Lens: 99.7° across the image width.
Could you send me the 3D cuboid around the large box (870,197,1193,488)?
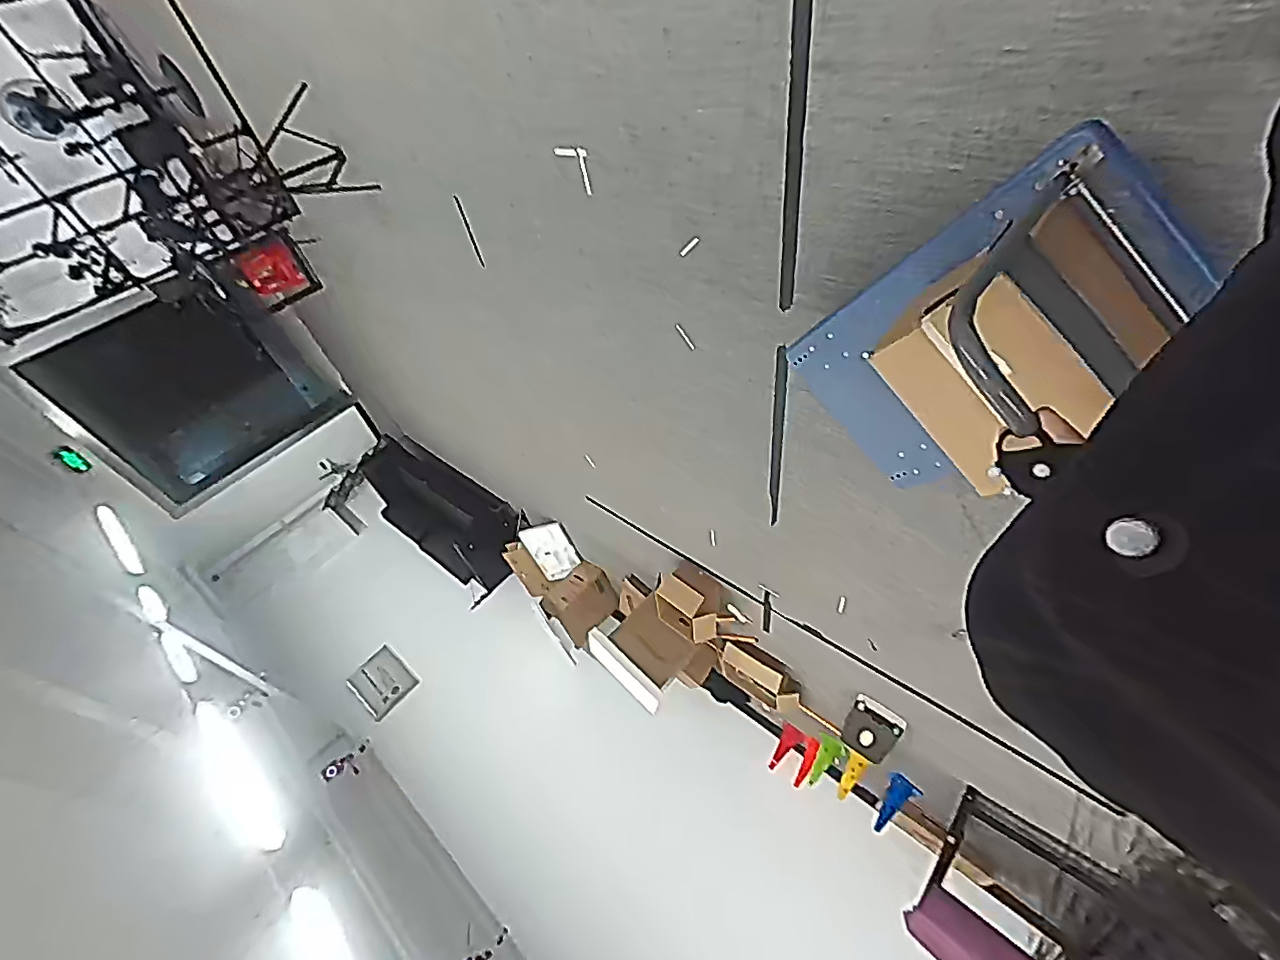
[{"bbox_3d":[0.770,-0.256,1.083,0.408,0.320,0.320,49,153,-3],"label":"large box"}]
